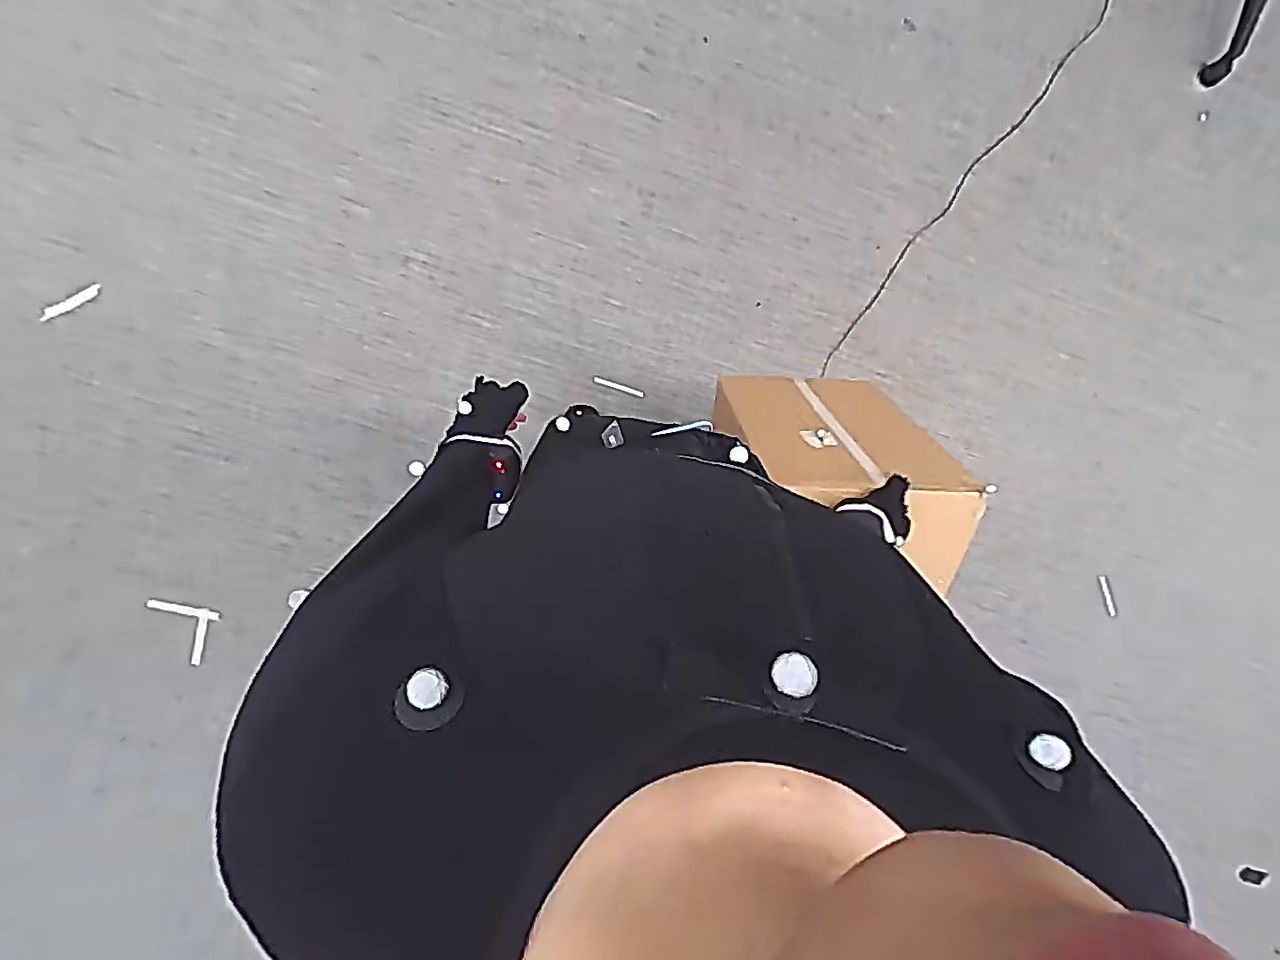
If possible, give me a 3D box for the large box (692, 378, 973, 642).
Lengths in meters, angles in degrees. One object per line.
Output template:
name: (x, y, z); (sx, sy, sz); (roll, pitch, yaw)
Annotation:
large box: (0.294, 0.038, 0.992); (0.320, 0.408, 0.320); (1, 123, -5)
